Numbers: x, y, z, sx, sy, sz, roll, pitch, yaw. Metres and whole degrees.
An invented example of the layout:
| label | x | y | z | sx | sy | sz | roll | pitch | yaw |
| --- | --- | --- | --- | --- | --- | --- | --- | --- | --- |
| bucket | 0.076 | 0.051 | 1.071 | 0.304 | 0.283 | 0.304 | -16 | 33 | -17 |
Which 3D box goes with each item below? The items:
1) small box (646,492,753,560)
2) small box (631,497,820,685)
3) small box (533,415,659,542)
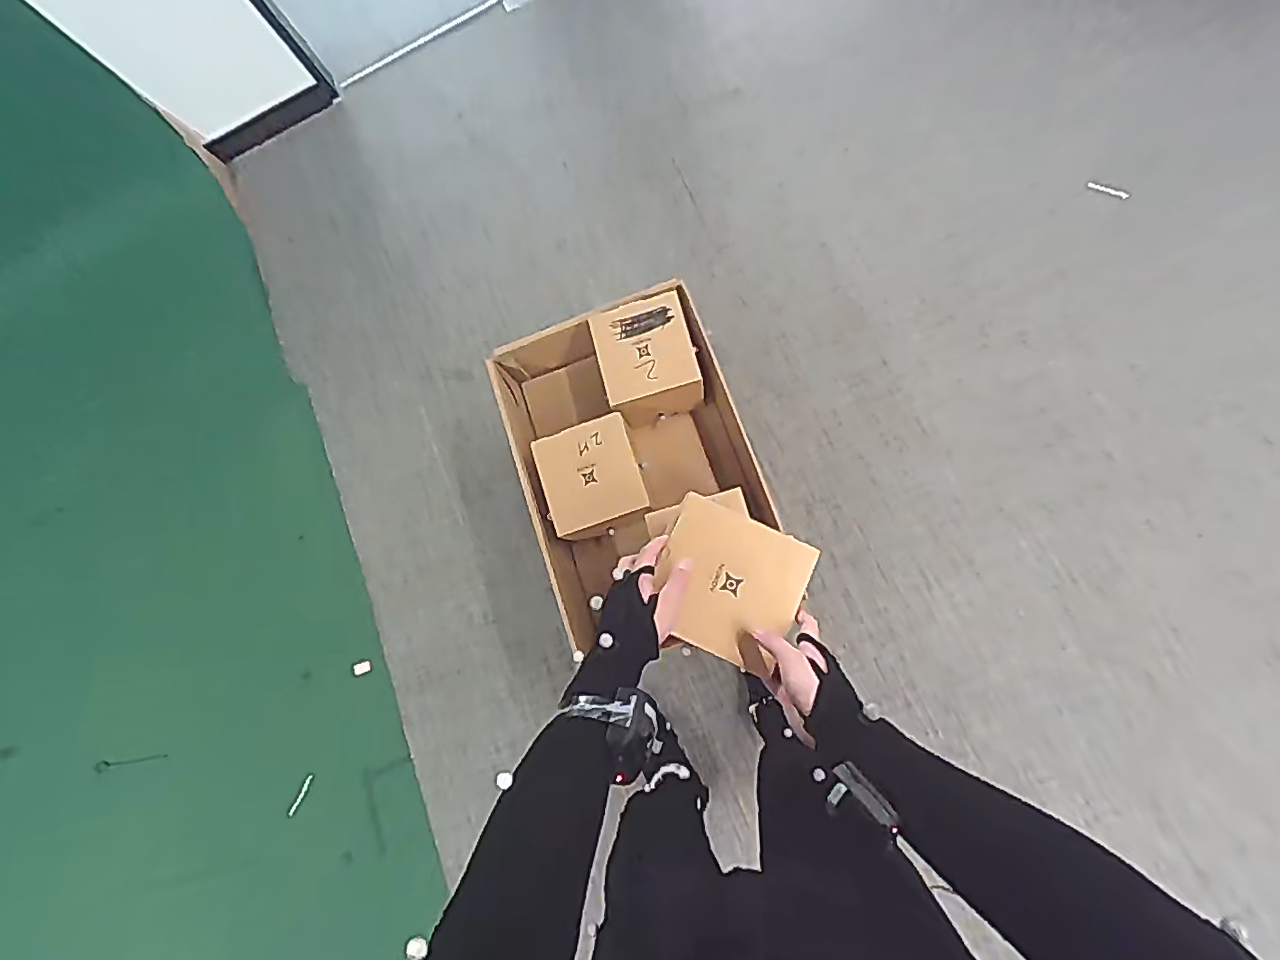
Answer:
| label | x | y | z | sx | sy | sz | roll | pitch | yaw |
| --- | --- | --- | --- | --- | --- | --- | --- | --- | --- |
| small box | 0.120 | 0.132 | 0.926 | 0.168 | 0.176 | 0.179 | -16 | 79 | 6 |
| small box | 0.102 | 0.140 | 0.709 | 0.179 | 0.176 | 0.168 | 25 | 80 | 5 |
| small box | -0.071 | 0.007 | 0.978 | 0.168 | 0.176 | 0.179 | -19 | 78 | 5 |
